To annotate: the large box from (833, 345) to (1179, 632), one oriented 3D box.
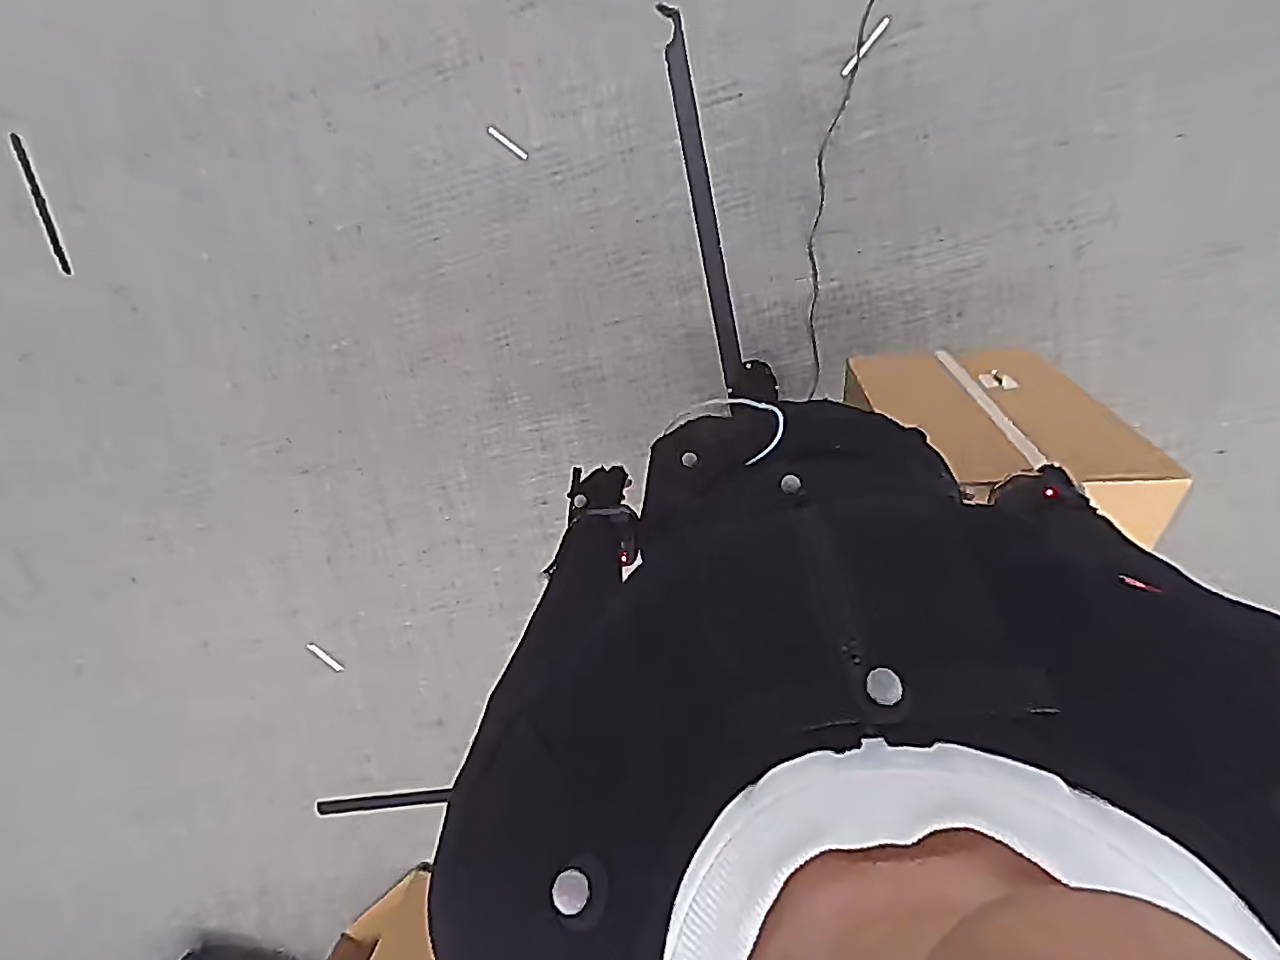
[{"bbox_3d":[0.536,0.001,0.915,0.320,0.408,0.320,-1,125,7],"label":"large box"}]
